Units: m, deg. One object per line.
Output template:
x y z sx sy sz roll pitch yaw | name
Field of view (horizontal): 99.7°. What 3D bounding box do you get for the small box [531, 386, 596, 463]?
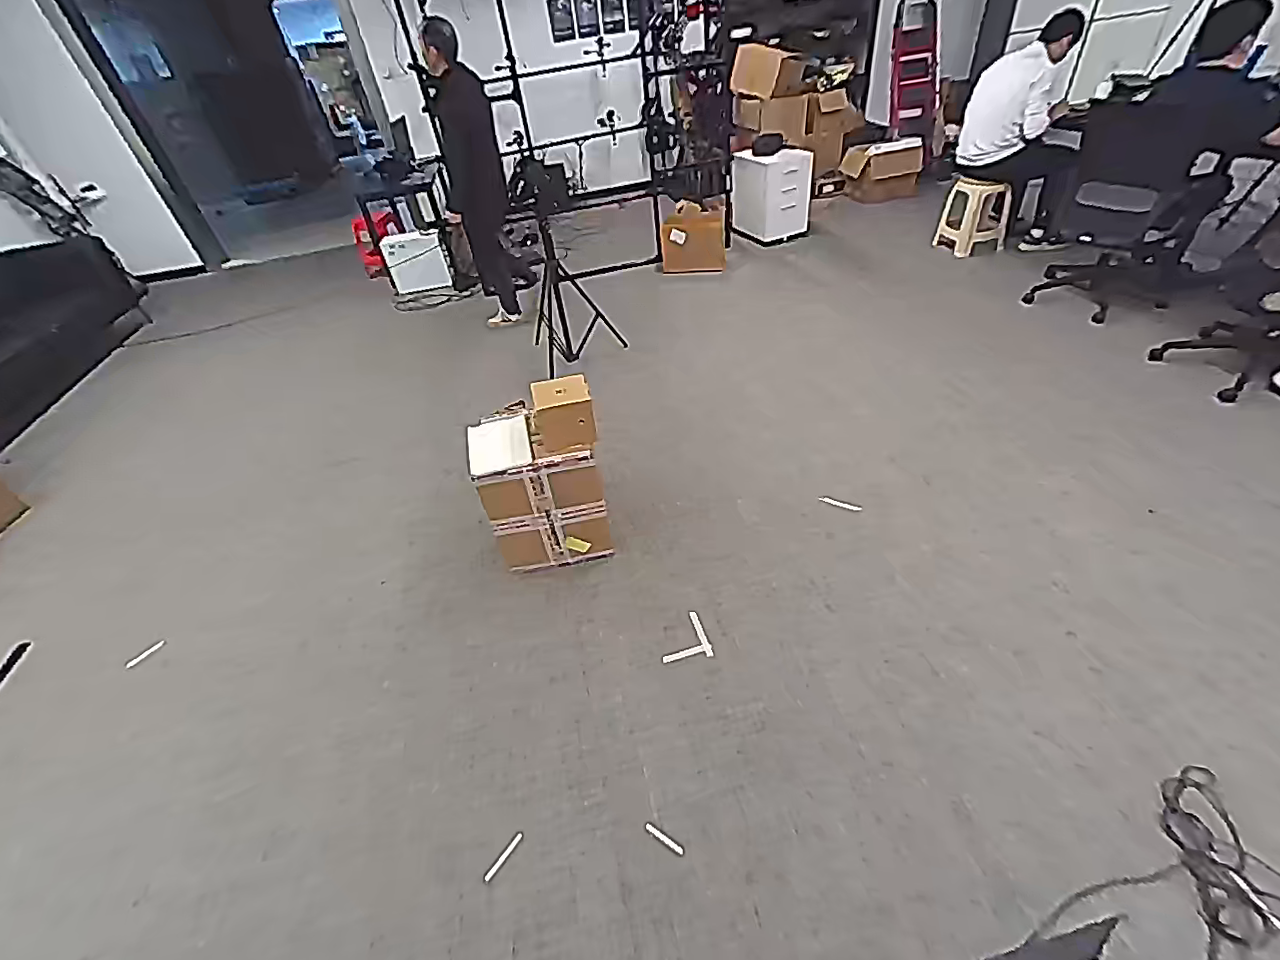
-0.245 -0.181 1.764 0.179 0.176 0.168 -14 41 -8 | small box
